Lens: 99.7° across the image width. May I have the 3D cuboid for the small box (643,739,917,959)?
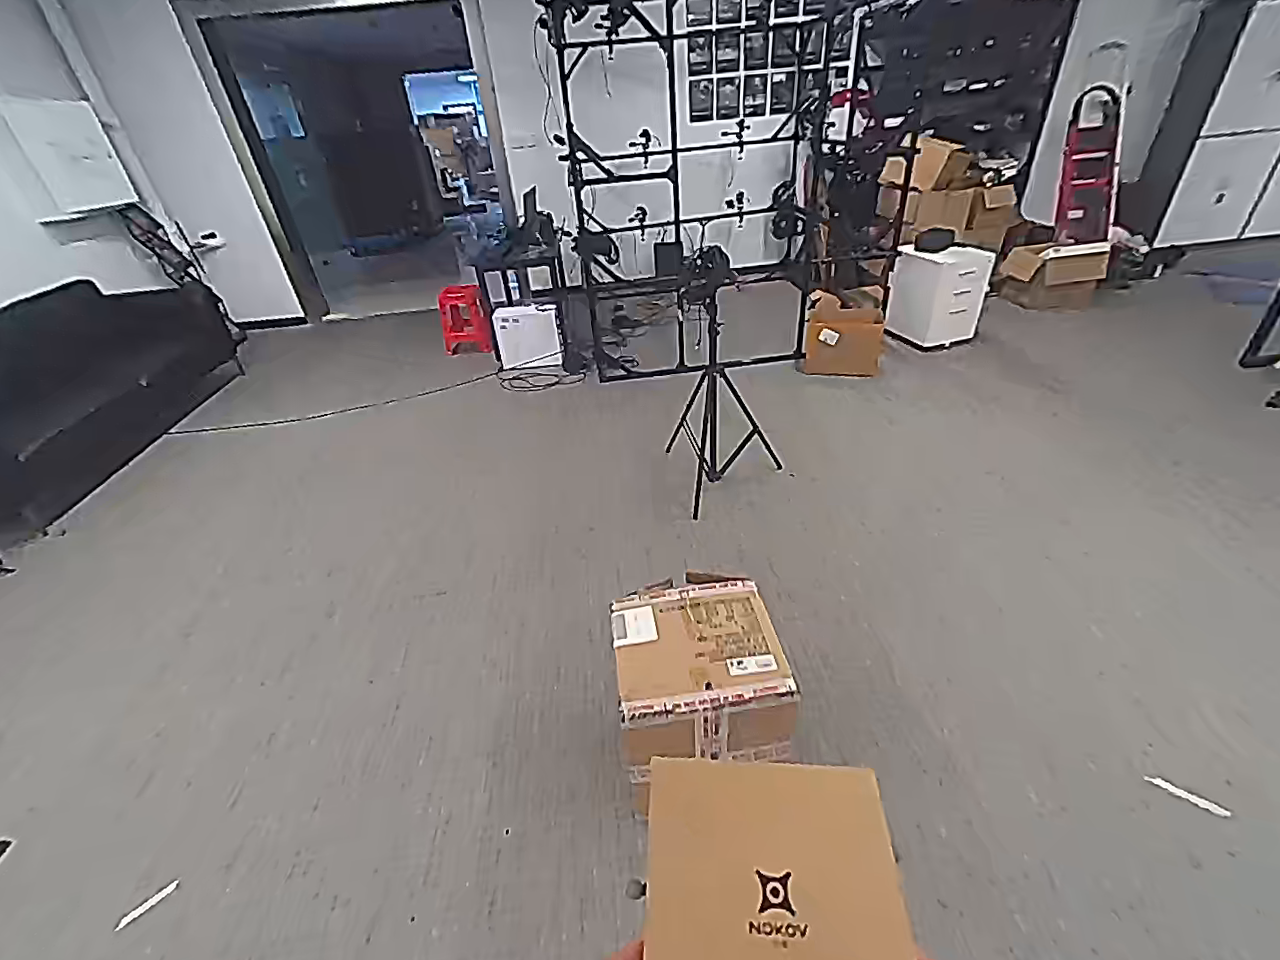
[{"bbox_3d":[0.088,0.319,0.405,0.168,0.176,0.179,1,45,4],"label":"small box"}]
